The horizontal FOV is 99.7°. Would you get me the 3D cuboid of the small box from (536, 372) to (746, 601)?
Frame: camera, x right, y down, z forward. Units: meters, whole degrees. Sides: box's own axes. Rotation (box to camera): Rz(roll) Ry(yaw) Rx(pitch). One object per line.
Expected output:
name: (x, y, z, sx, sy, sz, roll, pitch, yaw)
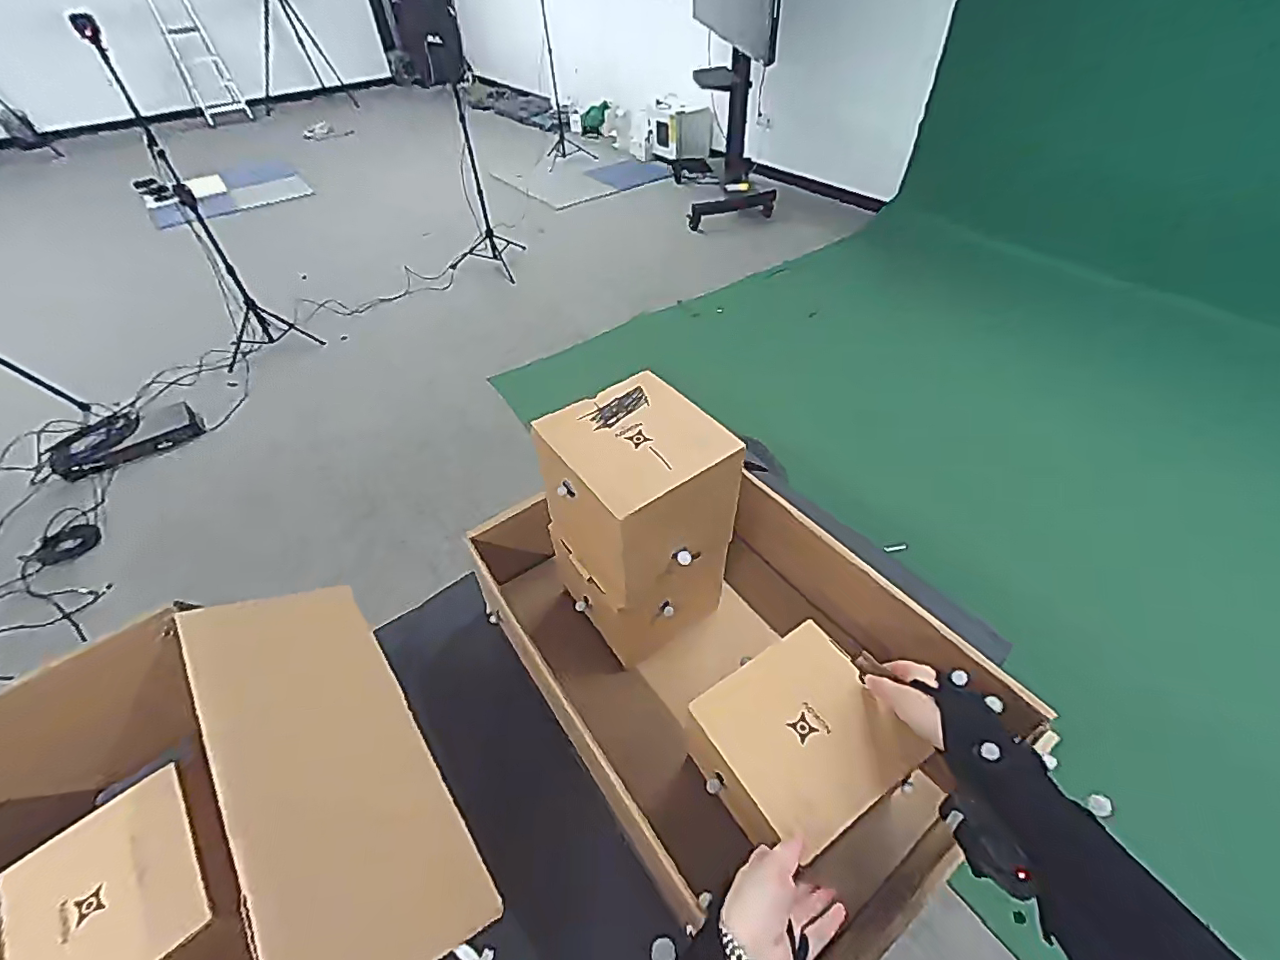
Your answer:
small box: (-0.002, 0.008, 0.640, 0.168, 0.176, 0.179, -29, 54, -22)
